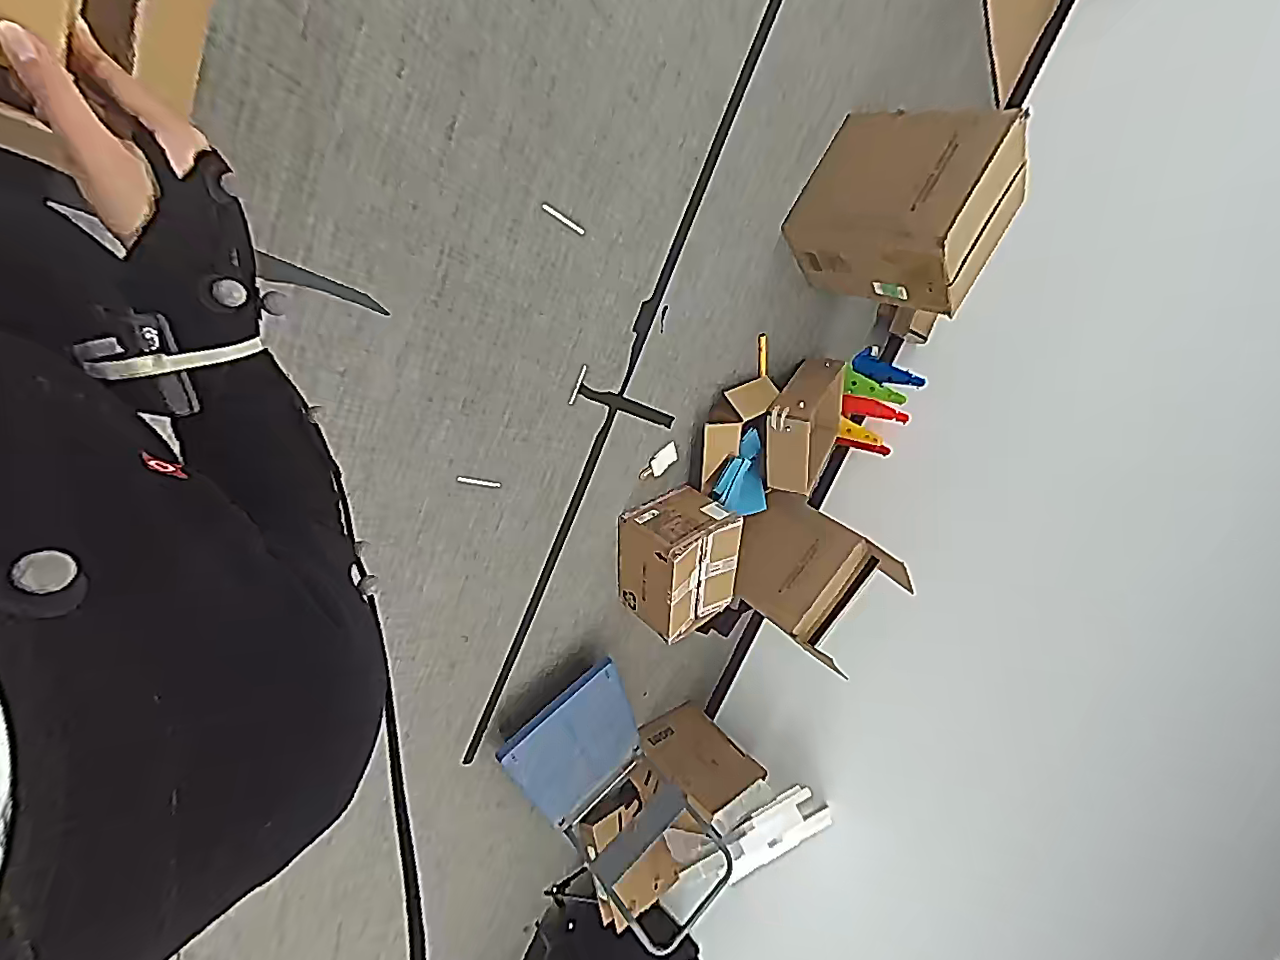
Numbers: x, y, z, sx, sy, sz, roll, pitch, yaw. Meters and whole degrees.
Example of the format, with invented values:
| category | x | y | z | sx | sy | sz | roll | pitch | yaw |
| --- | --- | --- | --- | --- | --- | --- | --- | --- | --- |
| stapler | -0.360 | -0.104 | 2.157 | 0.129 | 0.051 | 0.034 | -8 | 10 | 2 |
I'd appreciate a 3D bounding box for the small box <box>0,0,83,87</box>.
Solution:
| category | x | y | z | sx | sy | sz | roll | pitch | yaw |
| --- | --- | --- | --- | --- | --- | --- | --- | --- | --- |
| small box | -0.367 | -0.321 | 0.246 | 0.168 | 0.176 | 0.179 | 8 | 112 | -47 |
